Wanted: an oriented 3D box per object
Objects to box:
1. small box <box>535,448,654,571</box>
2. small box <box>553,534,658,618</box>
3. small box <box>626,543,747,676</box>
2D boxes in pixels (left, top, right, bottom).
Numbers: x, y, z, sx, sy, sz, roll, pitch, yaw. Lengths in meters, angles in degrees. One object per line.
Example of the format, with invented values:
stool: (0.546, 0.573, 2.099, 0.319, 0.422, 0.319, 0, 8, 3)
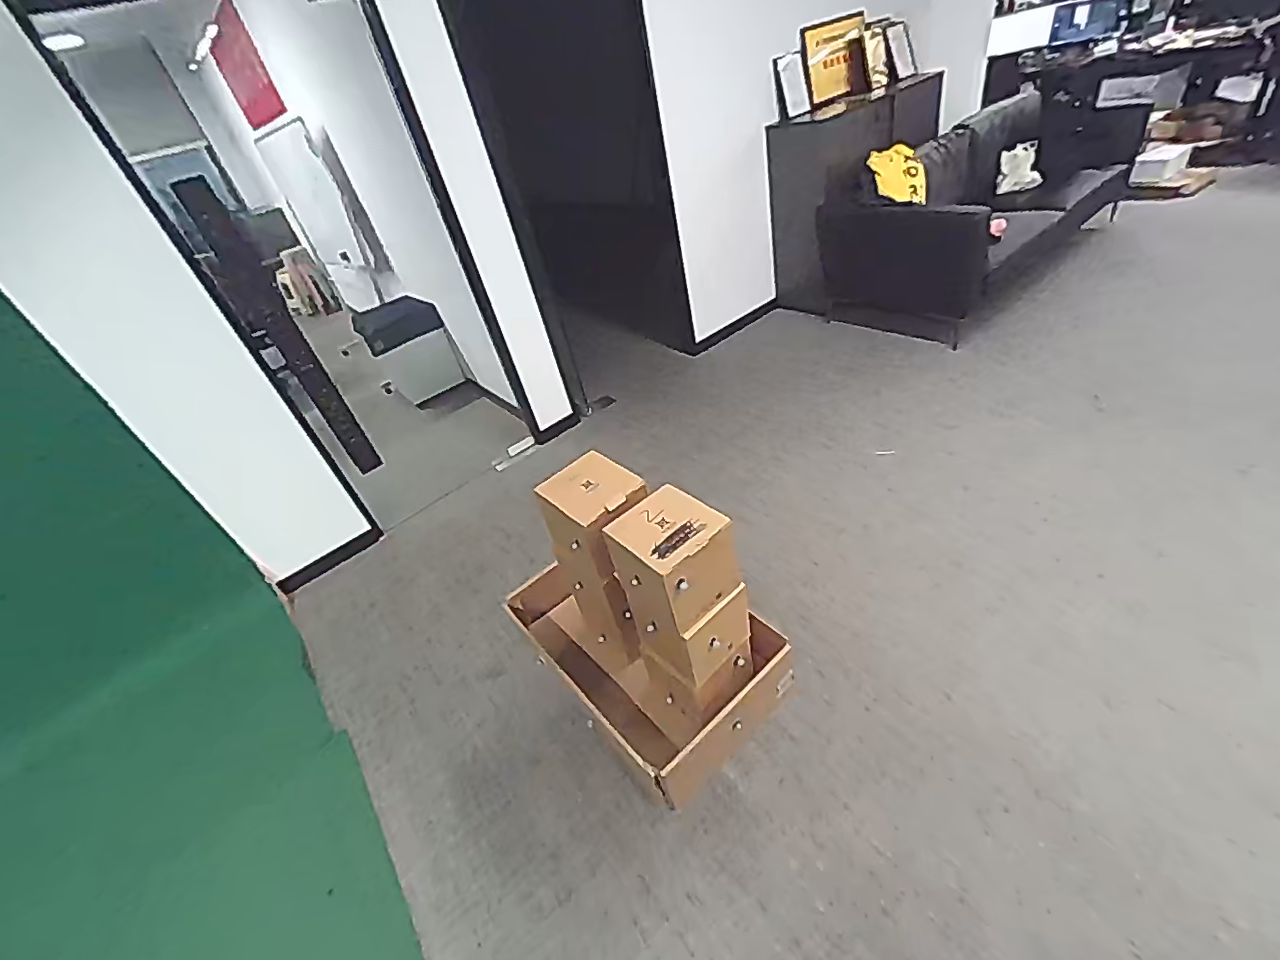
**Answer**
small box: (-0.089, 0.066, 1.147, 0.168, 0.176, 0.179, -35, 45, -26)
small box: (-0.068, 0.191, 1.249, 0.179, 0.176, 0.168, 27, 54, 38)
small box: (0.101, 0.268, 1.101, 0.168, 0.176, 0.179, -35, 42, -25)
